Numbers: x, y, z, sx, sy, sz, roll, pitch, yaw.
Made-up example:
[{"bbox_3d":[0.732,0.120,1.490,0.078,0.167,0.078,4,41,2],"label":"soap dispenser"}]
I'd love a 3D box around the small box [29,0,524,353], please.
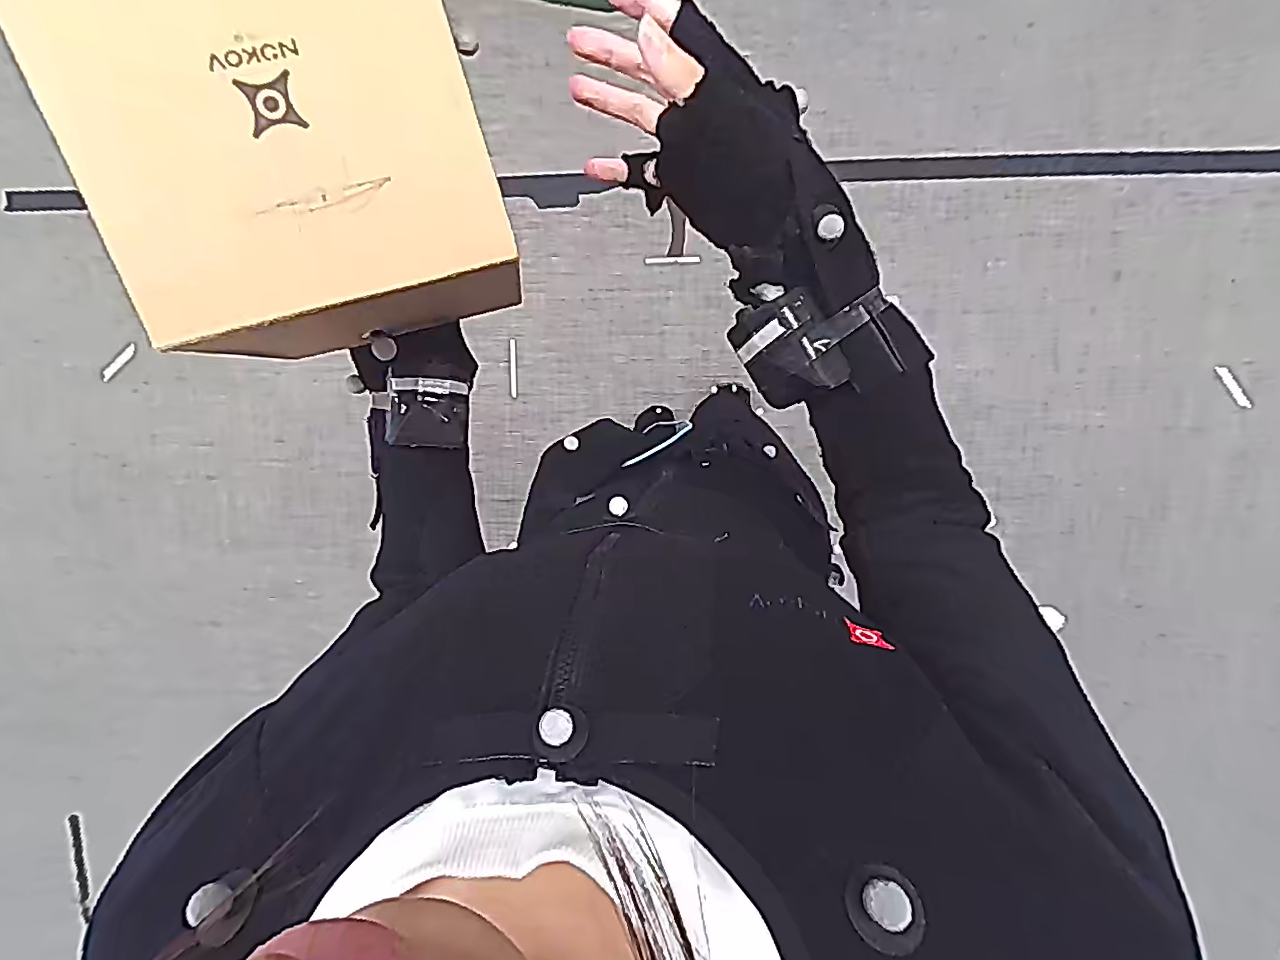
[{"bbox_3d":[-0.174,-0.183,0.320,0.168,0.176,0.179,-17,104,-7],"label":"small box"}]
